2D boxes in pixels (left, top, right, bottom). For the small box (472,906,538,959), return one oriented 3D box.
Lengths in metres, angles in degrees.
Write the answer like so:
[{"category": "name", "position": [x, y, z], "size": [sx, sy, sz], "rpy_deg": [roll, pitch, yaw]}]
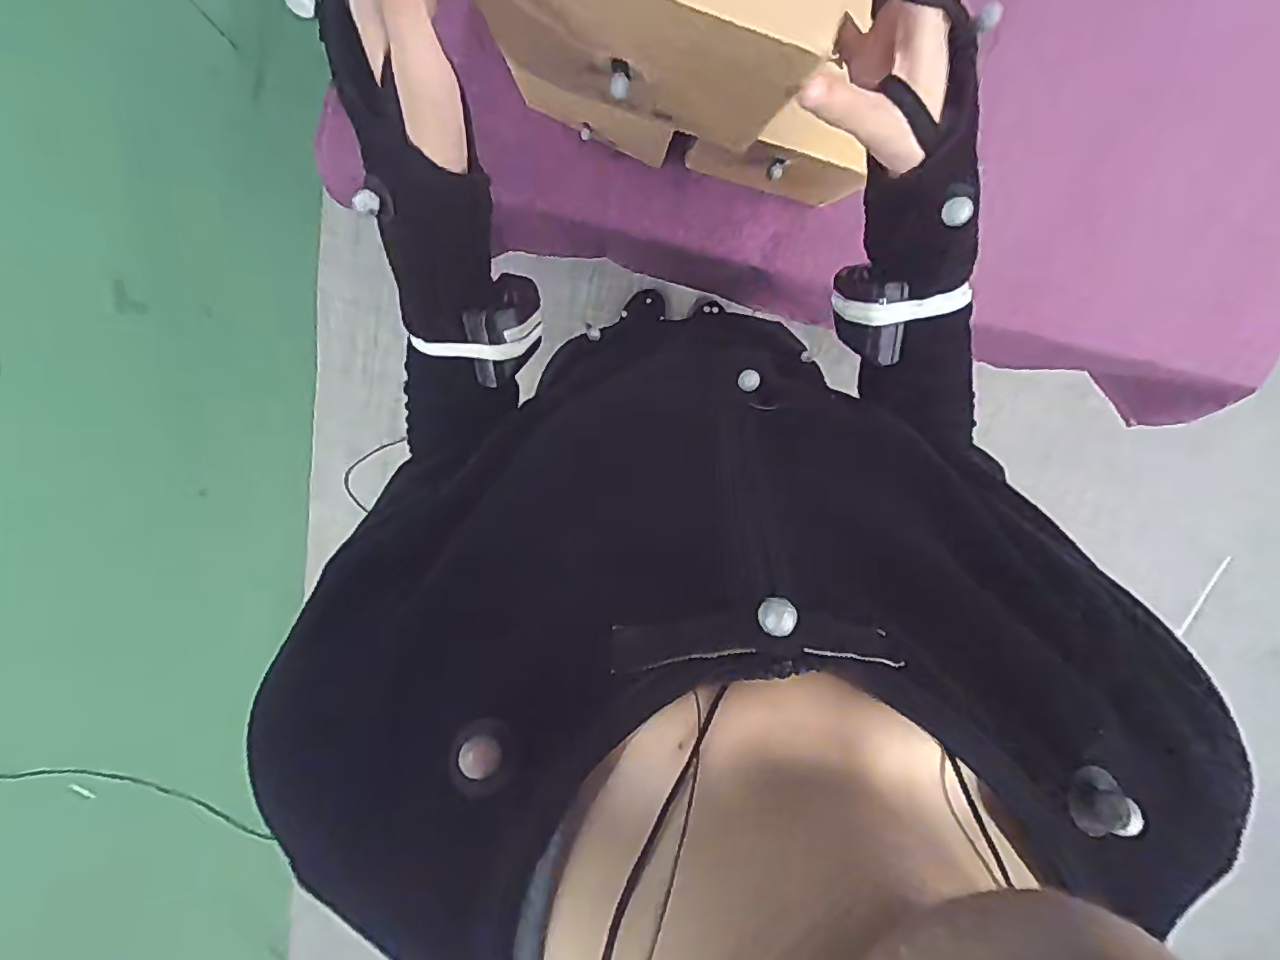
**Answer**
[{"category": "small box", "position": [-0.417, 1.447, 1.648], "size": [0.179, 0.176, 0.168], "rpy_deg": [10, 104, -5]}]
